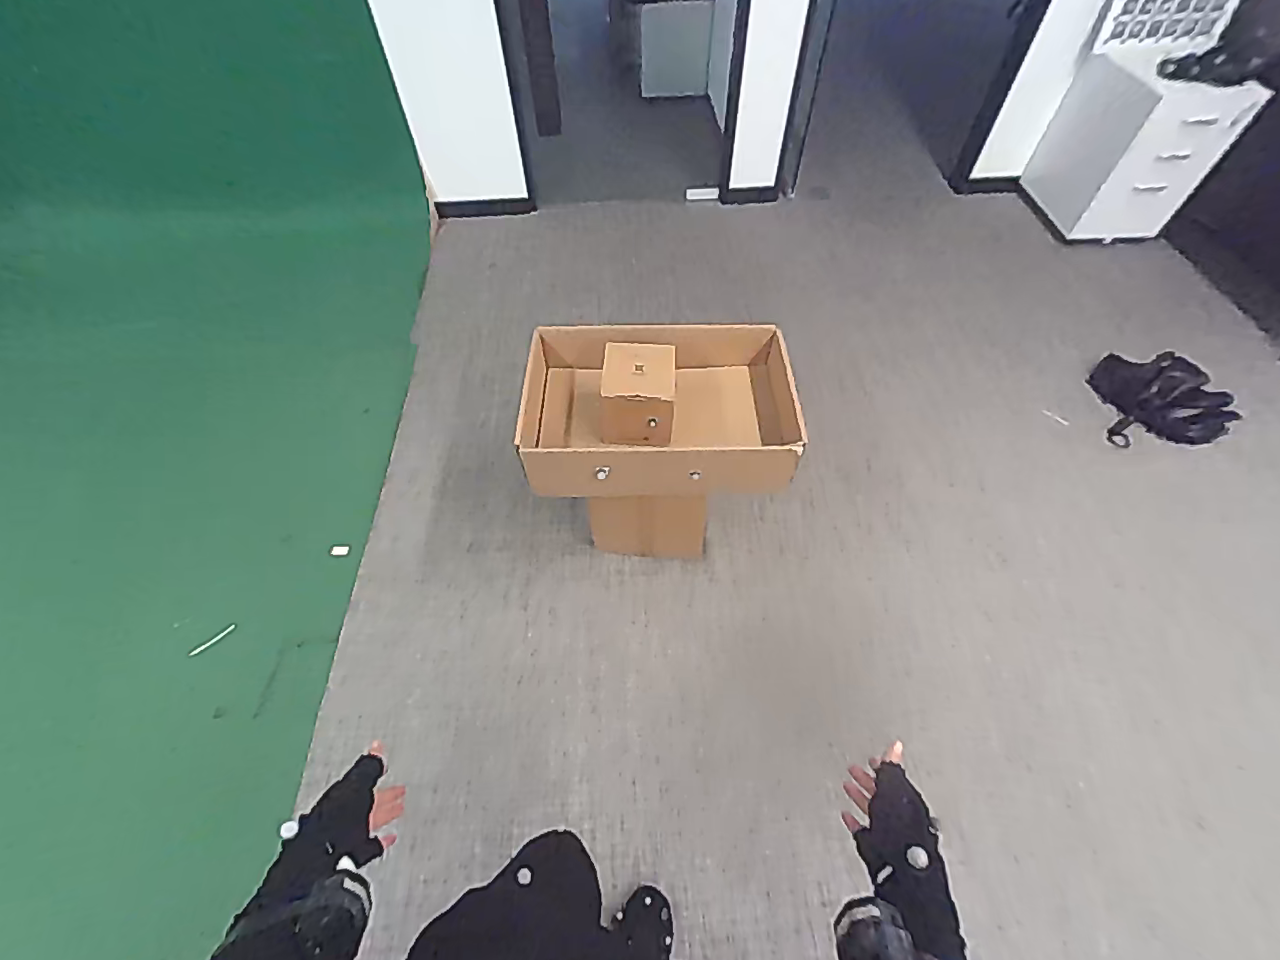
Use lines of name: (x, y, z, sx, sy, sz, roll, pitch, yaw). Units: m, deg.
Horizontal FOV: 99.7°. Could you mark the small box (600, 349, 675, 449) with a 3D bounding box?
small box: (-0.003, -0.190, 1.292, 0.168, 0.176, 0.179, 3, 52, -1)
